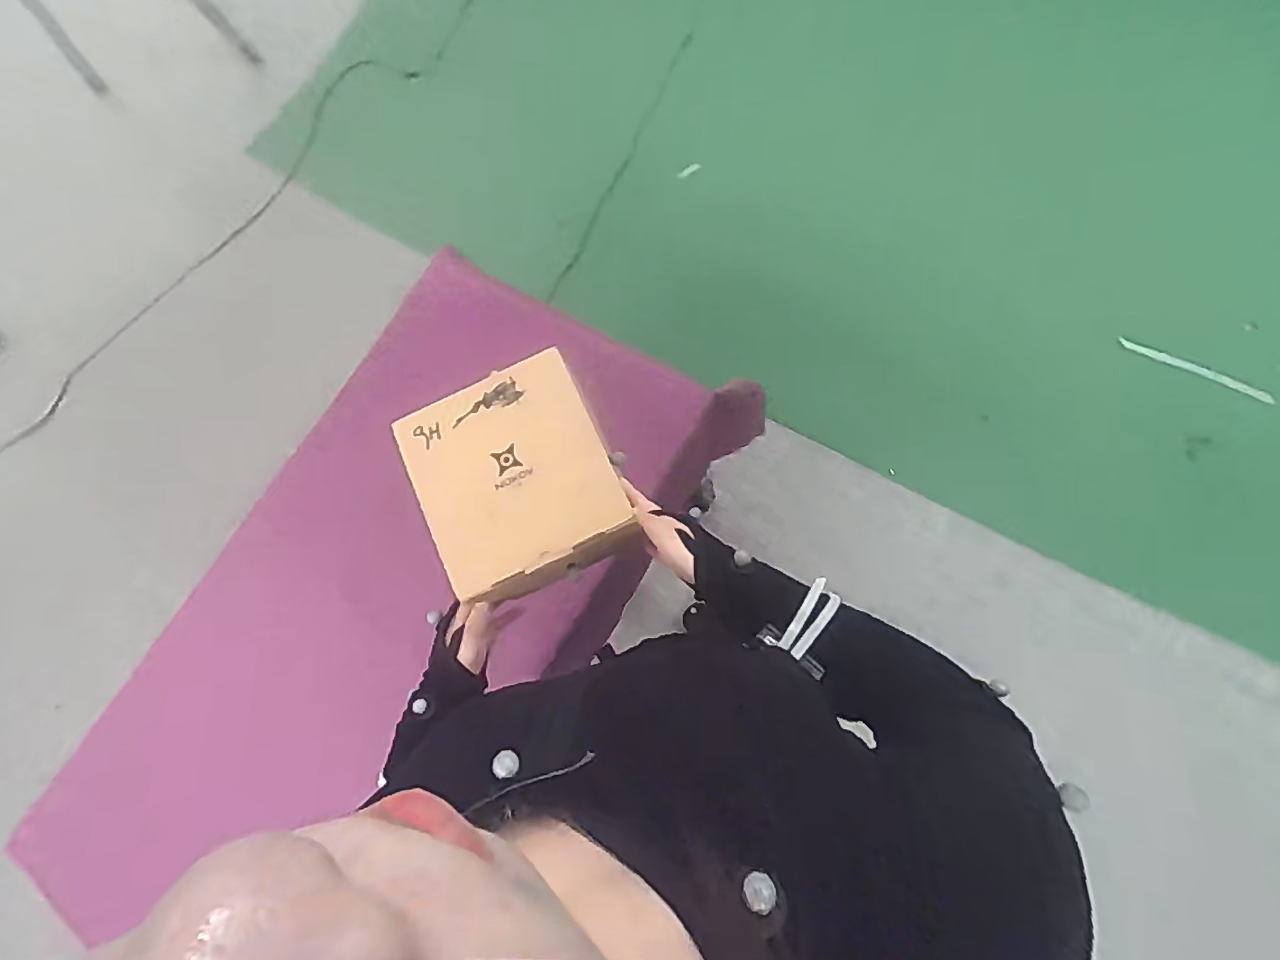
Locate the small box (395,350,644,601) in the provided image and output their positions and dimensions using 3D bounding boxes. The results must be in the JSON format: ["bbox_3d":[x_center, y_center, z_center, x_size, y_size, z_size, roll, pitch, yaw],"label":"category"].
[{"bbox_3d":[-0.104,0.005,0.544,0.168,0.176,0.179,-25,79,0],"label":"small box"}]
